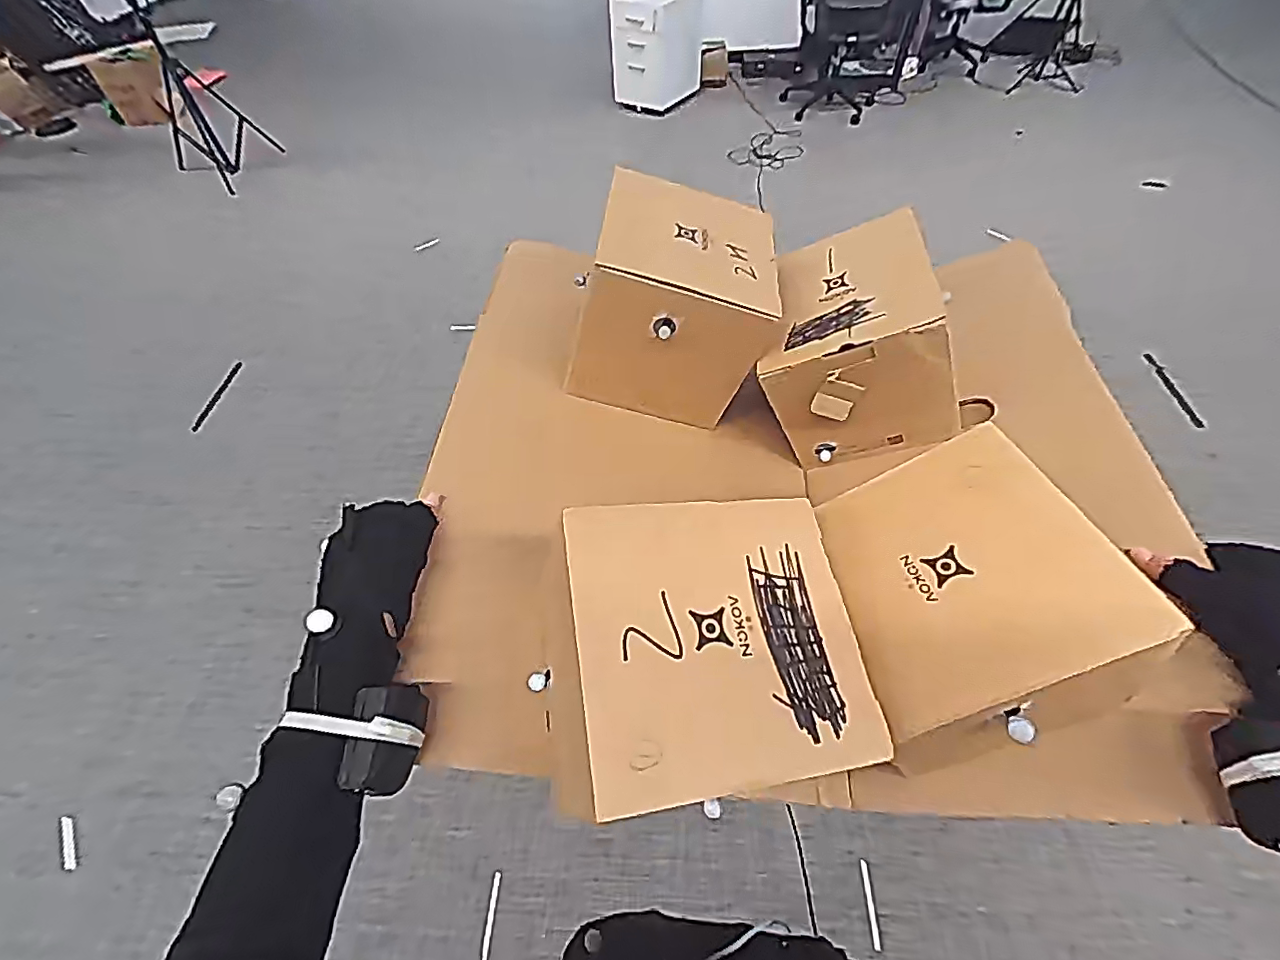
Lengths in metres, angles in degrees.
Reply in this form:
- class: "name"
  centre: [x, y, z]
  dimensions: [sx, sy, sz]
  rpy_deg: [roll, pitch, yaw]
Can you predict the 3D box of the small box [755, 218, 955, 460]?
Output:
- class: "small box"
  centre: [0.233, -0.138, 0.594]
  dimensions: [0.168, 0.176, 0.179]
  rpy_deg: [-13, 50, 27]
